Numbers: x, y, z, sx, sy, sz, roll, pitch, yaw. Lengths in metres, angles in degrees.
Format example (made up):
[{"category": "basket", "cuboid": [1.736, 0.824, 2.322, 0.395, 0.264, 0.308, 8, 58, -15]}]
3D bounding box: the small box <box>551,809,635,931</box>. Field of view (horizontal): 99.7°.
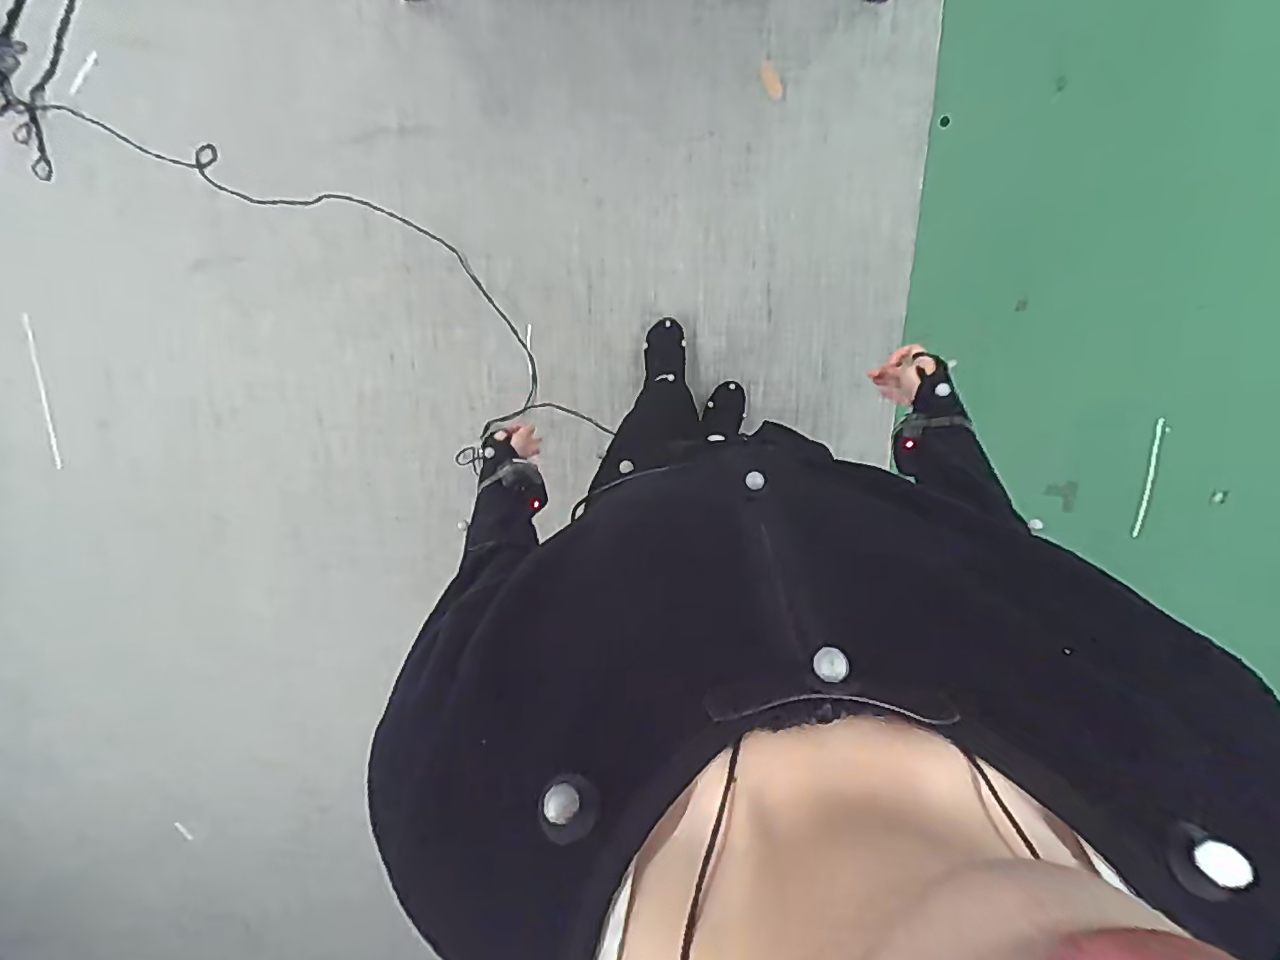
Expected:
[{"category": "small box", "cuboid": [-0.103, 0.911, 1.276, 0.179, 0.176, 0.168, 0, 101, 6]}]
